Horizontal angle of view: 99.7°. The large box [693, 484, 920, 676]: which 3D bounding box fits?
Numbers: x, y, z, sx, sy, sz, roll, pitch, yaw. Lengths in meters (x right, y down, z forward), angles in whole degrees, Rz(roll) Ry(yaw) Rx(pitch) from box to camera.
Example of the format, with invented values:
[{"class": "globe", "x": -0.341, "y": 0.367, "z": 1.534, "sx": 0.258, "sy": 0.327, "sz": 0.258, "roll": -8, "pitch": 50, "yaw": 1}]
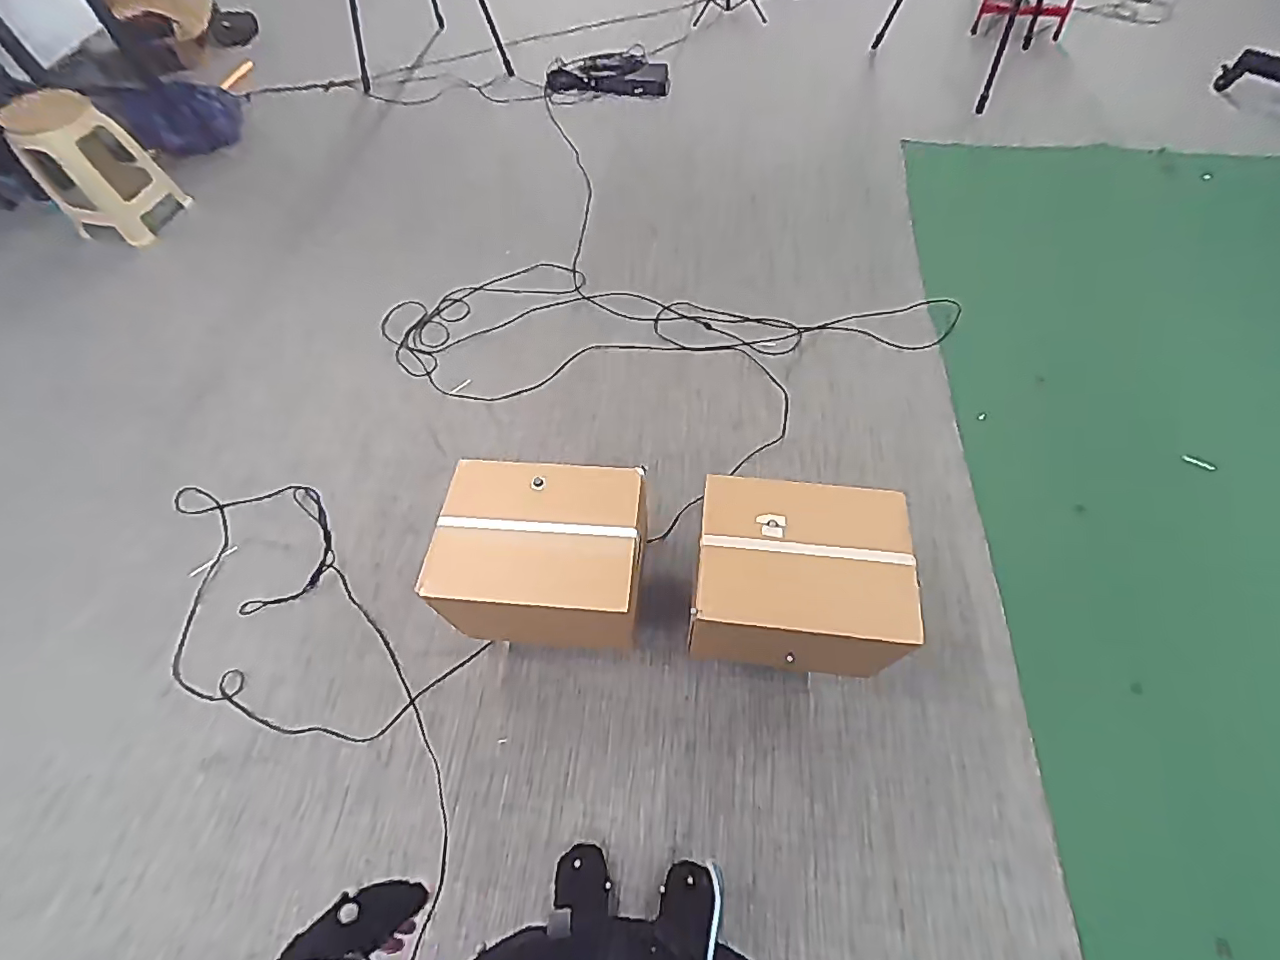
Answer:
[{"class": "large box", "x": 0.332, "y": 0.227, "z": 1.186, "sx": 0.408, "sy": 0.320, "sz": 0.320, "roll": 5, "pitch": 59, "yaw": 6}]
